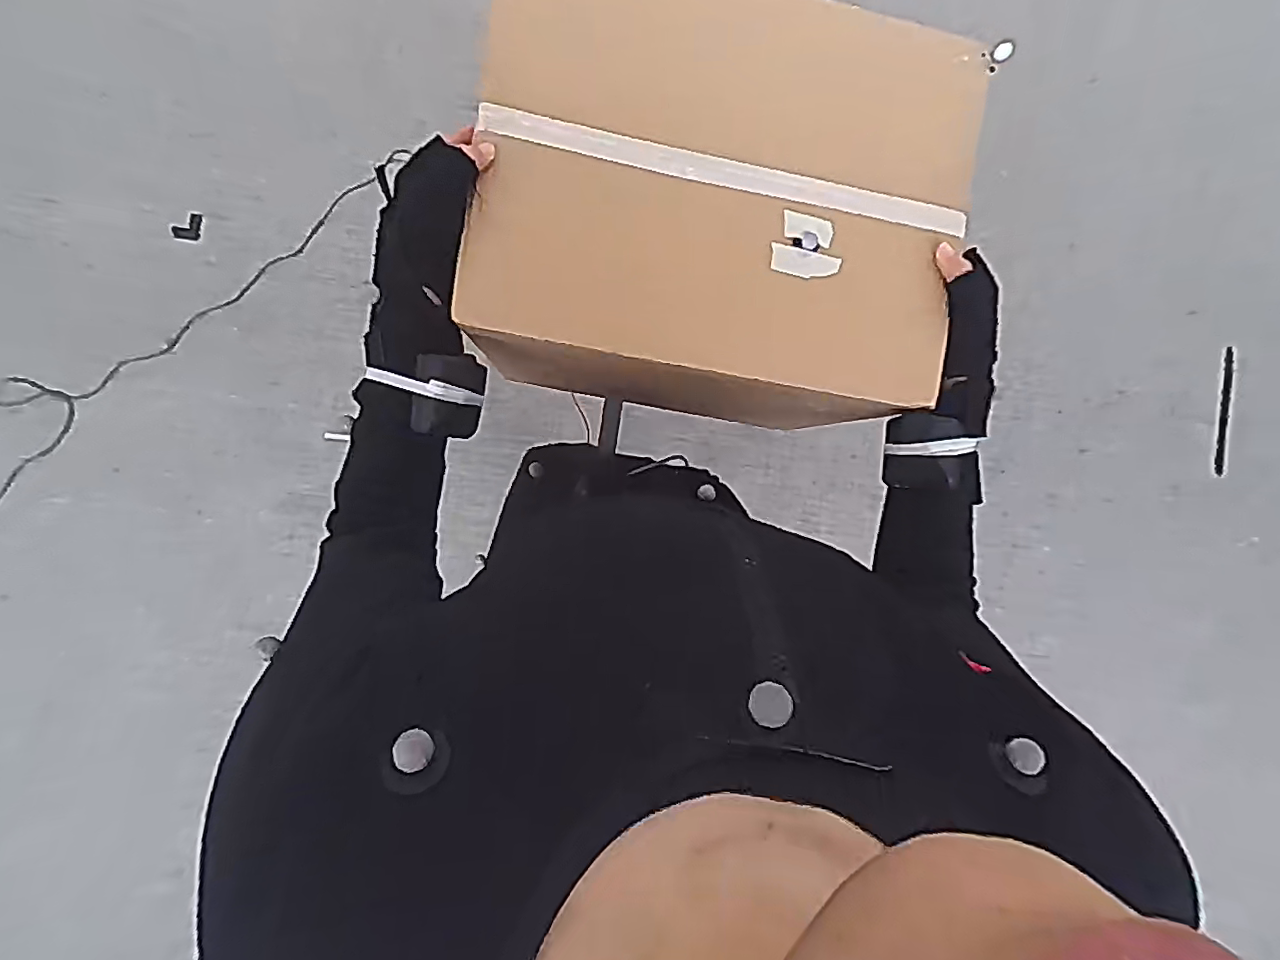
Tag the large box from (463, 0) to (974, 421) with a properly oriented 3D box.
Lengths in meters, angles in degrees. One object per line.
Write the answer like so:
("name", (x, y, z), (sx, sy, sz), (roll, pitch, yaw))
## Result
("large box", (0.054, -0.254, 0.592), (0.408, 0.320, 0.320), (9, 93, -8))
